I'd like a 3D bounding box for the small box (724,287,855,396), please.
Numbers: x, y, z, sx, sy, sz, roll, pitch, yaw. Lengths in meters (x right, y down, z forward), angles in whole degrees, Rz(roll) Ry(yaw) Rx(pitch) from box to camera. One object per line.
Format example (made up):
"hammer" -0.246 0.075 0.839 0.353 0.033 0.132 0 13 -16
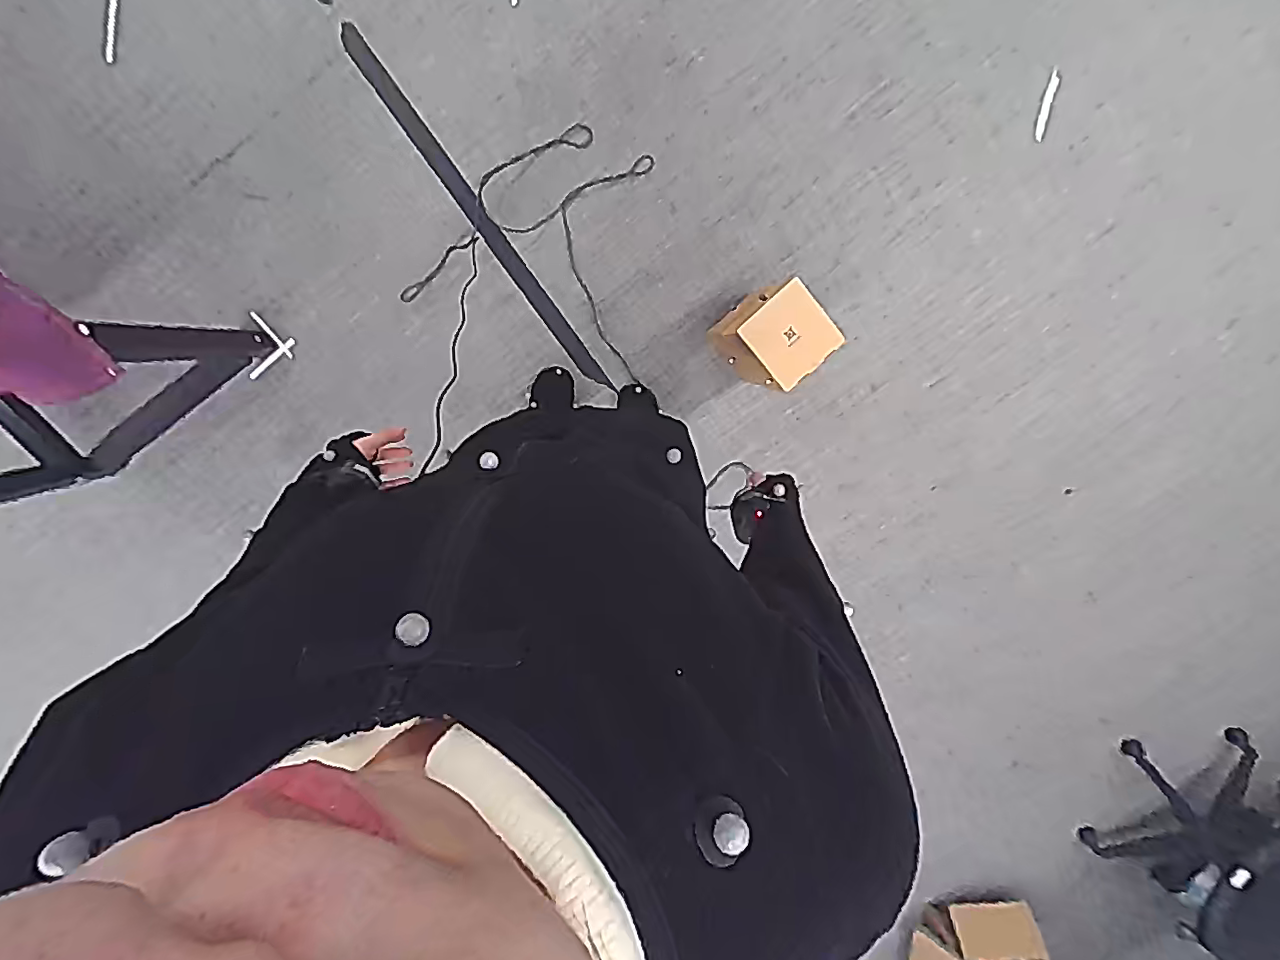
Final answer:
"small box" 0.323 -0.296 1.167 0.168 0.176 0.179 44 80 -30
